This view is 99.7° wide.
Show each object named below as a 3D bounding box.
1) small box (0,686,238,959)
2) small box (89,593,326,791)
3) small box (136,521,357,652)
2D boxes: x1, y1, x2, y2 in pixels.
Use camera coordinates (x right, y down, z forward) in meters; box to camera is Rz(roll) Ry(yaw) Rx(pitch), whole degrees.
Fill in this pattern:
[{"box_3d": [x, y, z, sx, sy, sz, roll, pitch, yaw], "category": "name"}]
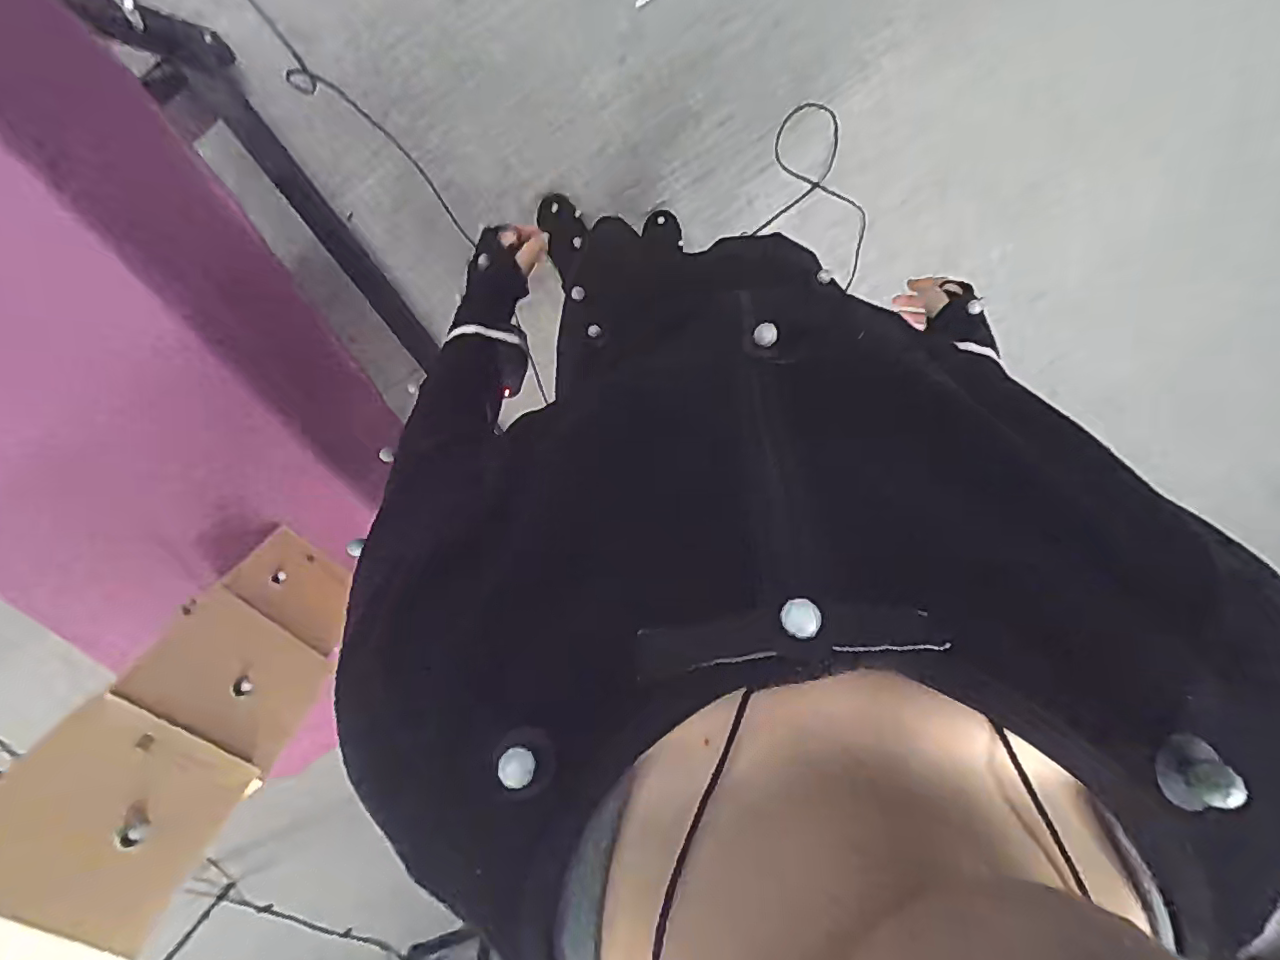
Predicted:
[{"box_3d": [-0.520, 0.324, 0.492, 0.179, 0.176, 0.168, -38, 112, 18], "category": "small box"}, {"box_3d": [-0.527, 0.259, 0.641, 0.168, 0.176, 0.179, -35, 114, 16], "category": "small box"}, {"box_3d": [-0.551, 0.191, 0.790, 0.179, 0.176, 0.168, -34, 113, 17], "category": "small box"}]
